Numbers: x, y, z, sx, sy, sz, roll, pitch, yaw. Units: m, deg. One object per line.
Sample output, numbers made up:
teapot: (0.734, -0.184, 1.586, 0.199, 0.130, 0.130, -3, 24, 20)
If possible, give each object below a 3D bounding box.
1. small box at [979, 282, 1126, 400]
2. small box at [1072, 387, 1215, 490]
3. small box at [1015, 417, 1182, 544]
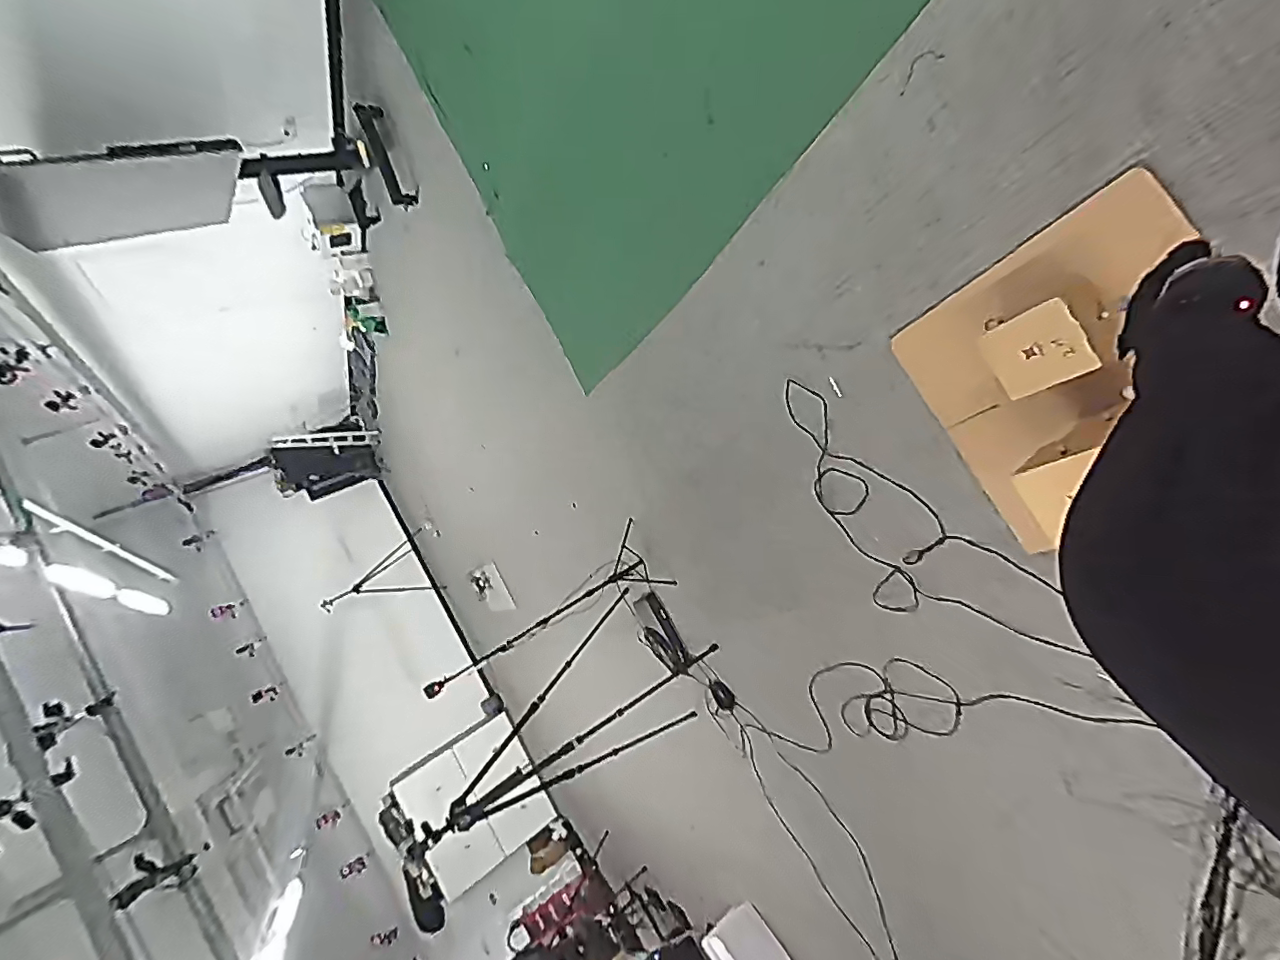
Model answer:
small box: (0.892, -0.300, 1.171, 0.168, 0.176, 0.179, 61, 148, 2)
small box: (1.038, -0.068, 1.127, 0.168, 0.176, 0.179, 58, 148, 8)
small box: (0.901, 0.002, 1.066, 0.168, 0.176, 0.179, 59, 148, 6)
